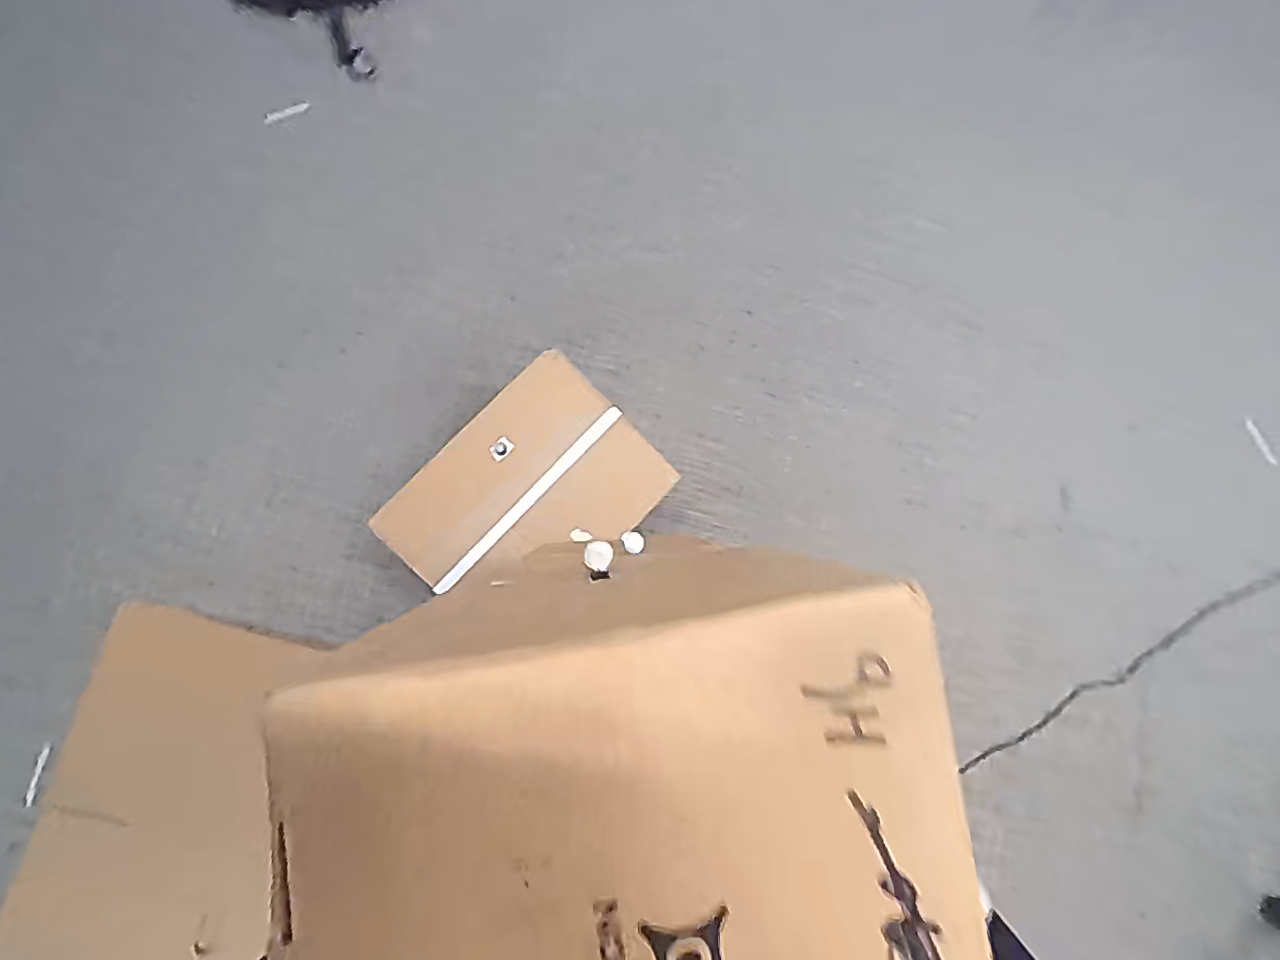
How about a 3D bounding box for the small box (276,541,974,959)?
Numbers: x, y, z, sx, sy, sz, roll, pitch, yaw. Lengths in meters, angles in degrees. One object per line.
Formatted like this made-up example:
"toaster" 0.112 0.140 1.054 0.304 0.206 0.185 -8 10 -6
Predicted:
"small box" -0.005 0.123 0.224 0.179 0.176 0.168 -11 85 -5
